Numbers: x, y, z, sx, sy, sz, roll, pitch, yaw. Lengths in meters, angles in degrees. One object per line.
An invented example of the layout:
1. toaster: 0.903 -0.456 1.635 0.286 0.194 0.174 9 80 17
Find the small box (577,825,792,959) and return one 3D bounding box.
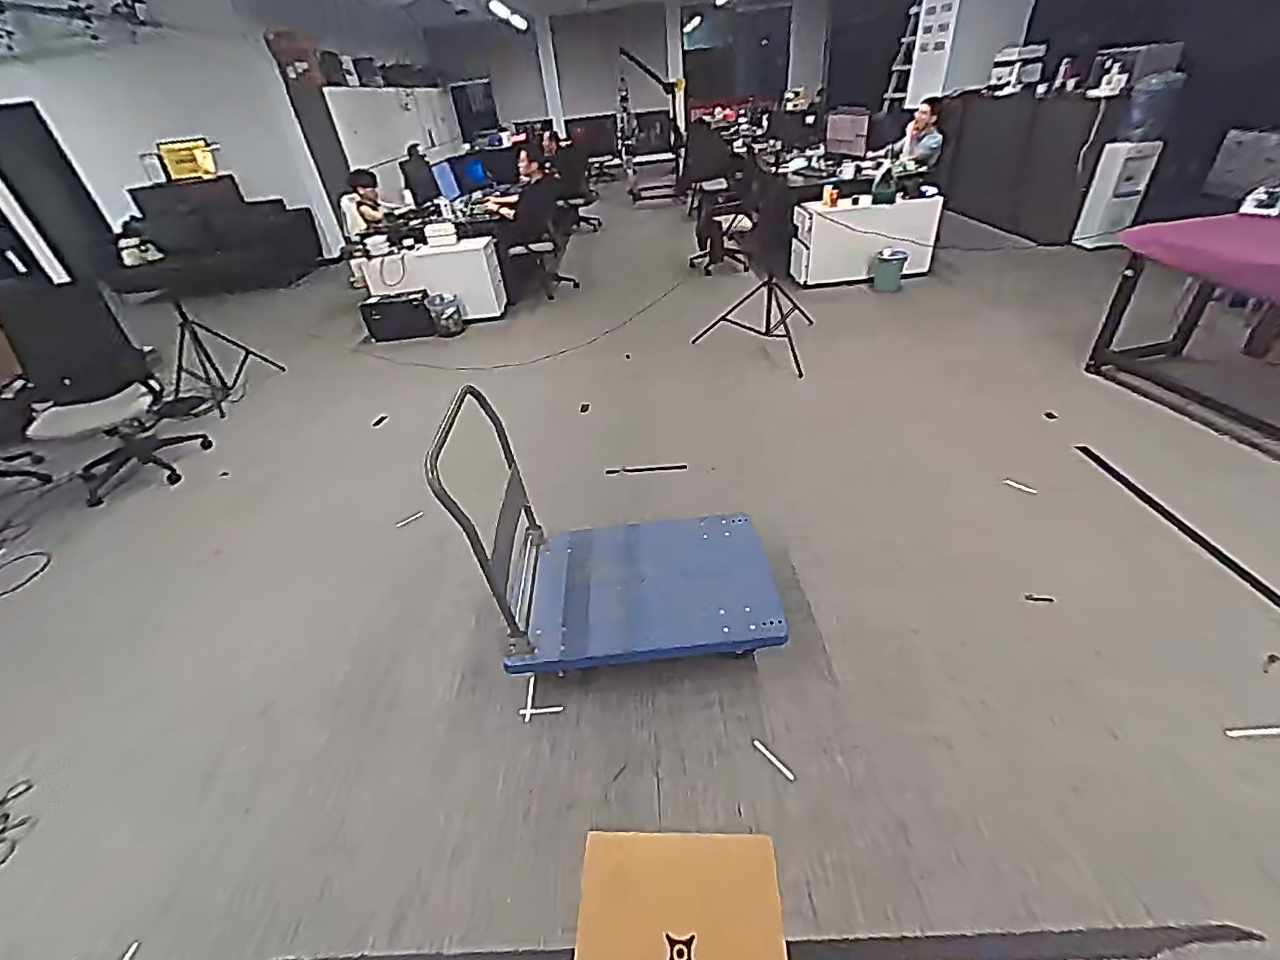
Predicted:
1. small box: 0.036 0.424 0.458 0.168 0.176 0.179 -1 38 4
